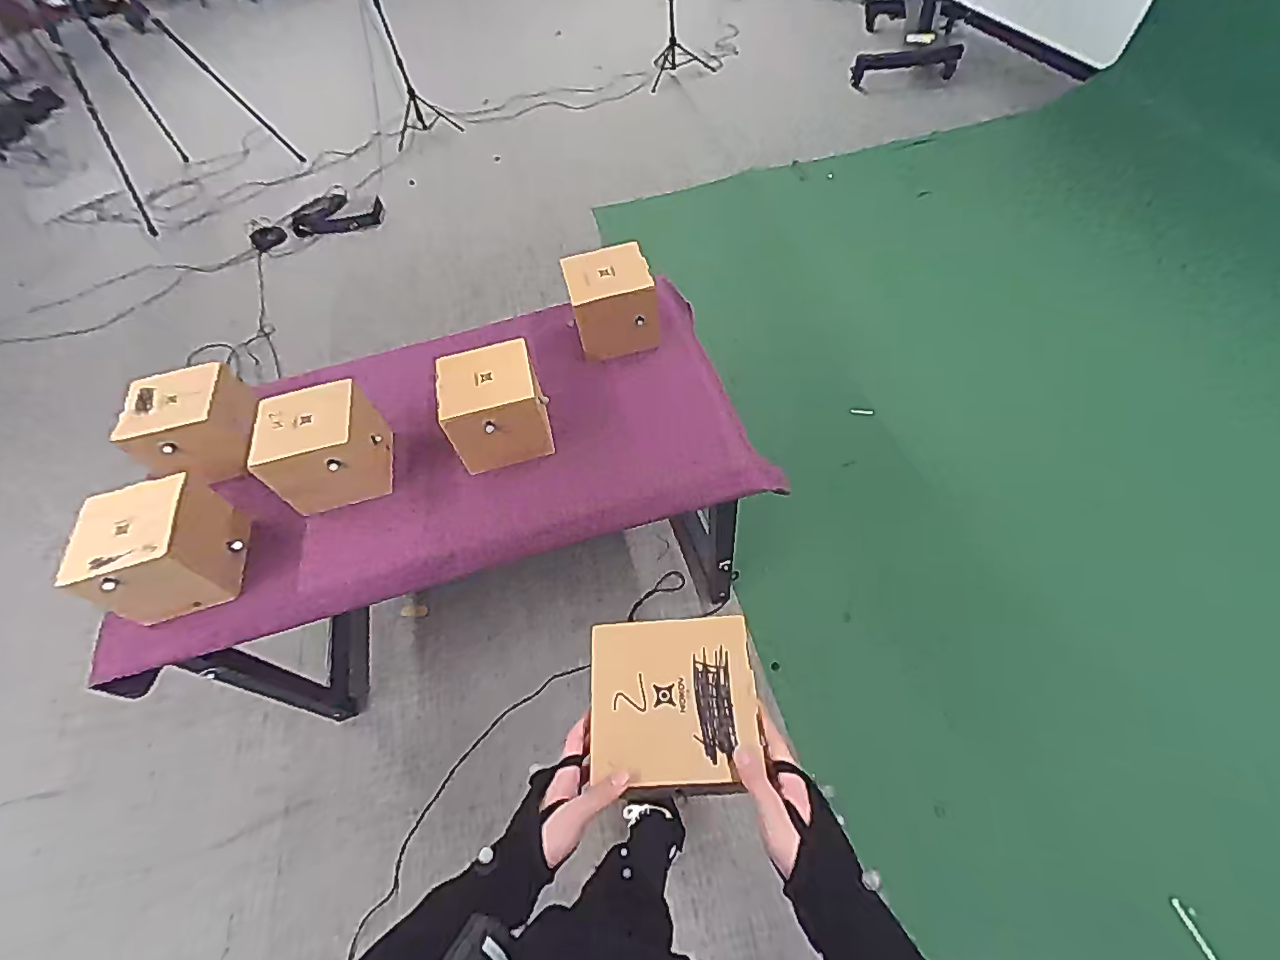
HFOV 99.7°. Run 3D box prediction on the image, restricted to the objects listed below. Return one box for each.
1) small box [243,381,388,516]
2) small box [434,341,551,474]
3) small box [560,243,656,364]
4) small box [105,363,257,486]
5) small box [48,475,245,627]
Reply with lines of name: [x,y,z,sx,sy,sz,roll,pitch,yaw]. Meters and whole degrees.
small box: [-0.599,-0.056,1.027,0.179,0.176,0.168,-15,55,-4]
small box: [-0.279,-0.136,1.049,0.179,0.176,0.168,-15,56,-3]
small box: [-0.065,-0.384,1.188,0.179,0.176,0.168,-15,57,-3]
small box: [-0.898,-0.103,1.092,0.179,0.176,0.168,-15,56,-5]
small box: [-0.823,0.125,0.928,0.168,0.176,0.179,-17,54,-5]
